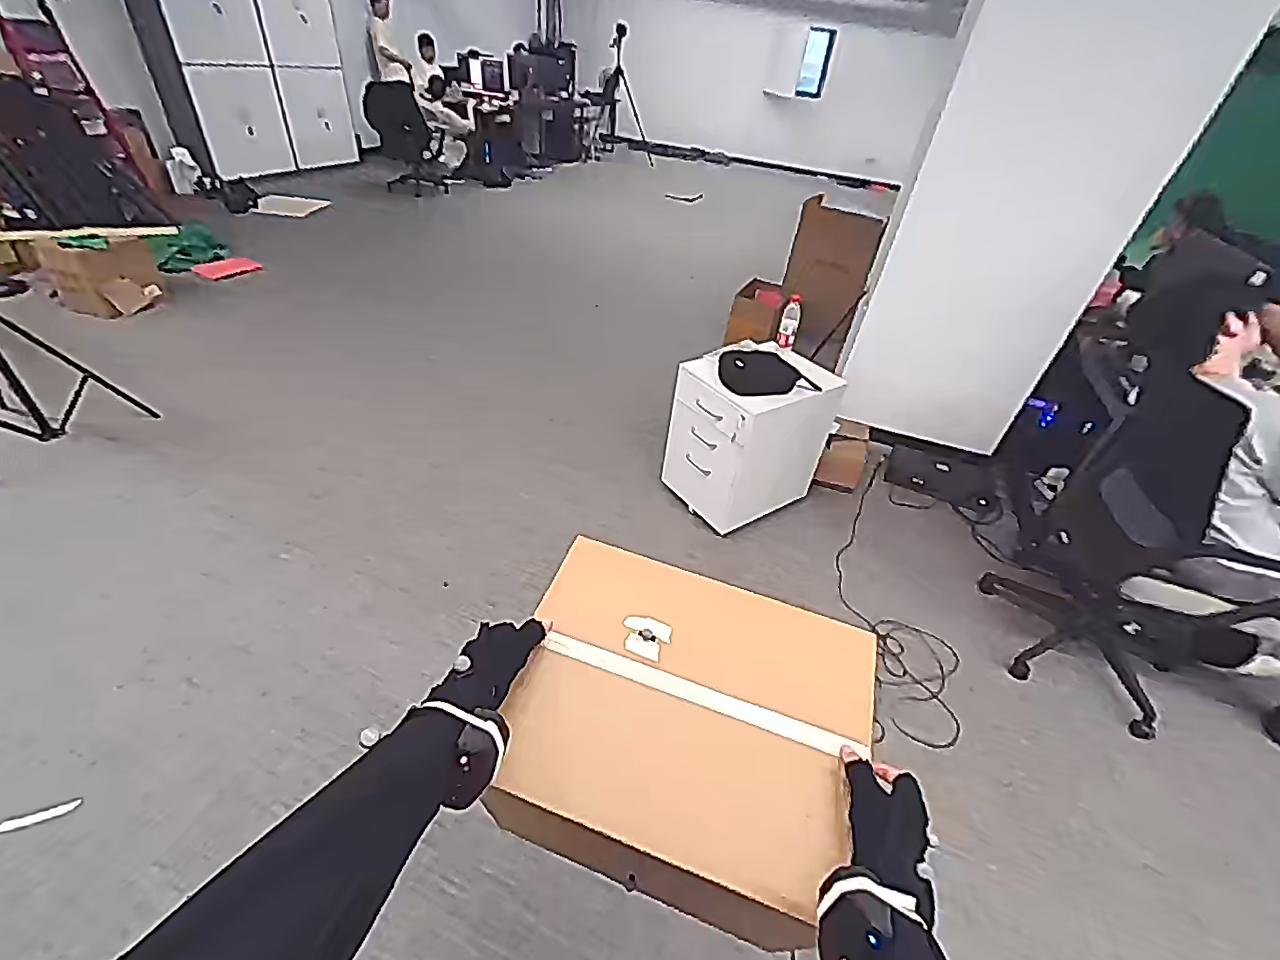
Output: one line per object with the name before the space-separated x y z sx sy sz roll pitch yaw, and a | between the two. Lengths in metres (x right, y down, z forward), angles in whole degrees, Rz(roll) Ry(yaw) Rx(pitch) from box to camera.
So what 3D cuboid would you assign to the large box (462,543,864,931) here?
large box | 0.043 0.343 0.730 0.408 0.320 0.320 17 48 11
